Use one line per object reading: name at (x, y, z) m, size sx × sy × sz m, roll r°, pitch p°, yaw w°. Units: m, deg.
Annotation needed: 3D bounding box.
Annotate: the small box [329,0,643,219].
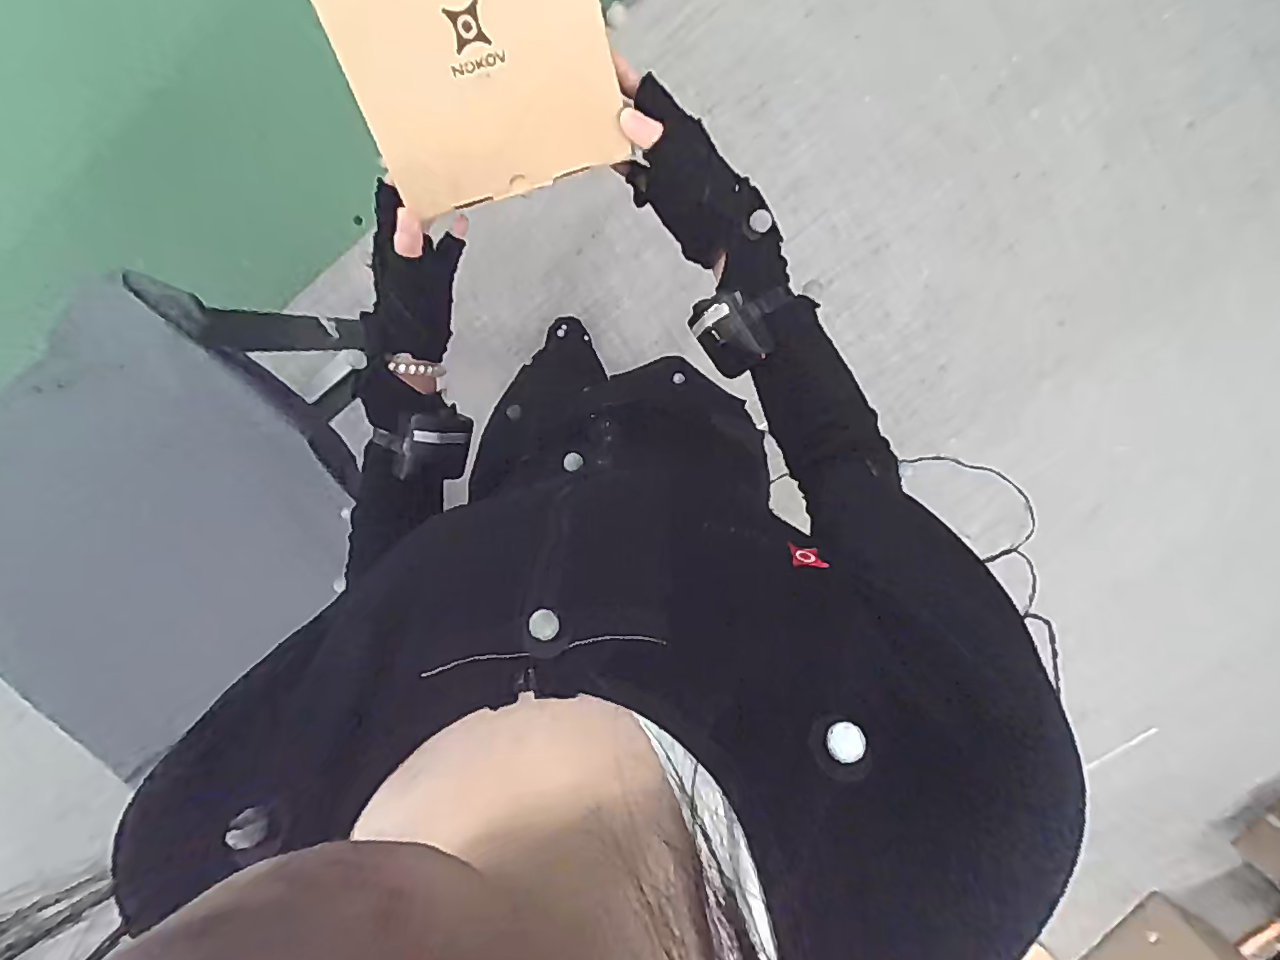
small box at (-0.103, -0.317, 0.398) m, size 0.168 × 0.176 × 0.179 m, roll -15°, pitch 125°, yaw 4°
